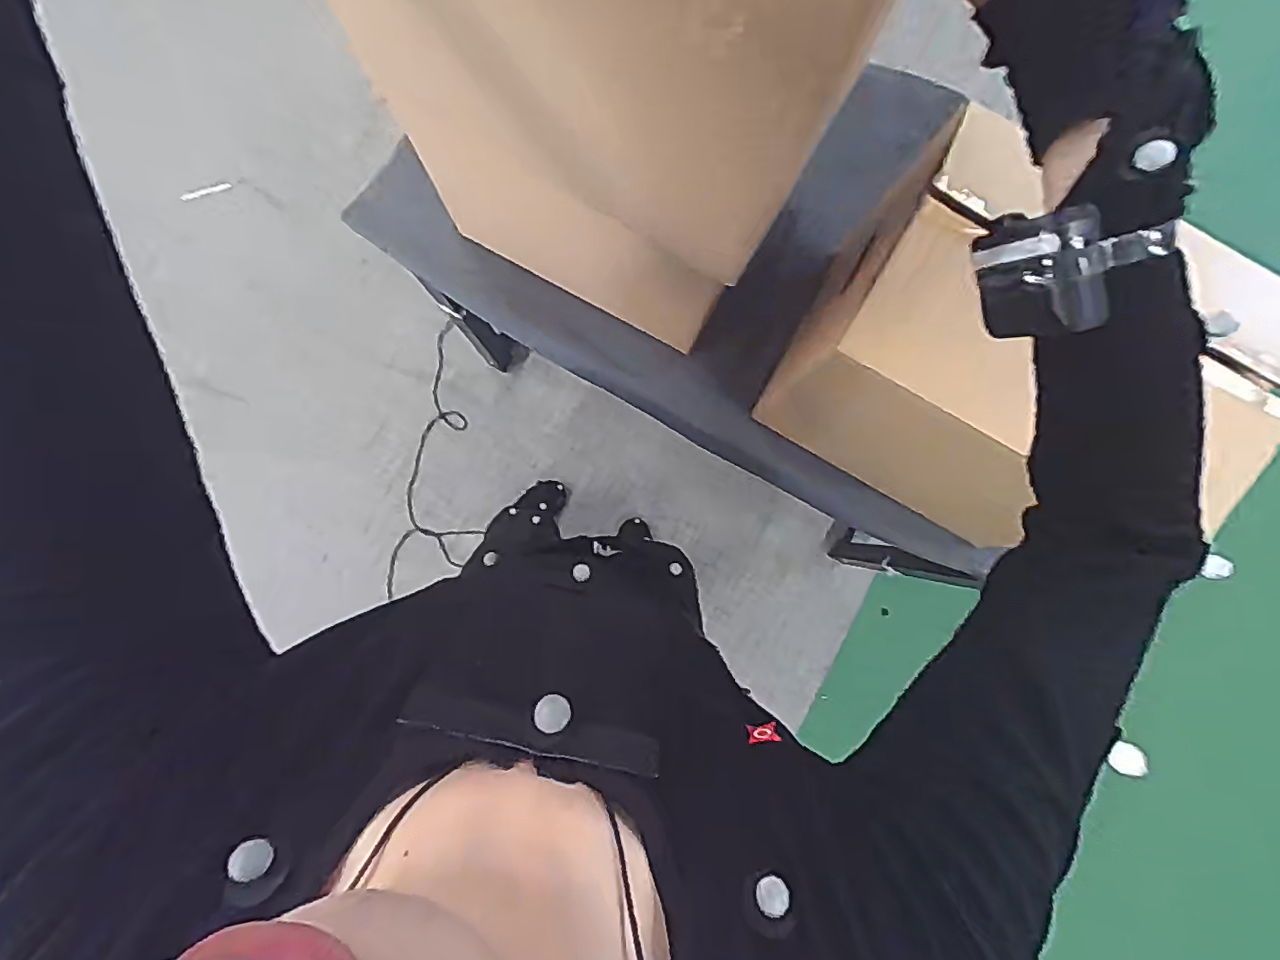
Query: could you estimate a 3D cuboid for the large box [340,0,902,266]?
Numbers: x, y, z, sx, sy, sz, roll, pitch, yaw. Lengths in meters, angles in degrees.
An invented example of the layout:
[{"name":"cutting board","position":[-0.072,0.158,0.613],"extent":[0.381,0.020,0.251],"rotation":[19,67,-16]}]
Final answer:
[{"name":"large box","position":[0.001,-0.435,0.382],"extent":[0.408,0.320,0.320],"rotation":[29,86,-3]}]
